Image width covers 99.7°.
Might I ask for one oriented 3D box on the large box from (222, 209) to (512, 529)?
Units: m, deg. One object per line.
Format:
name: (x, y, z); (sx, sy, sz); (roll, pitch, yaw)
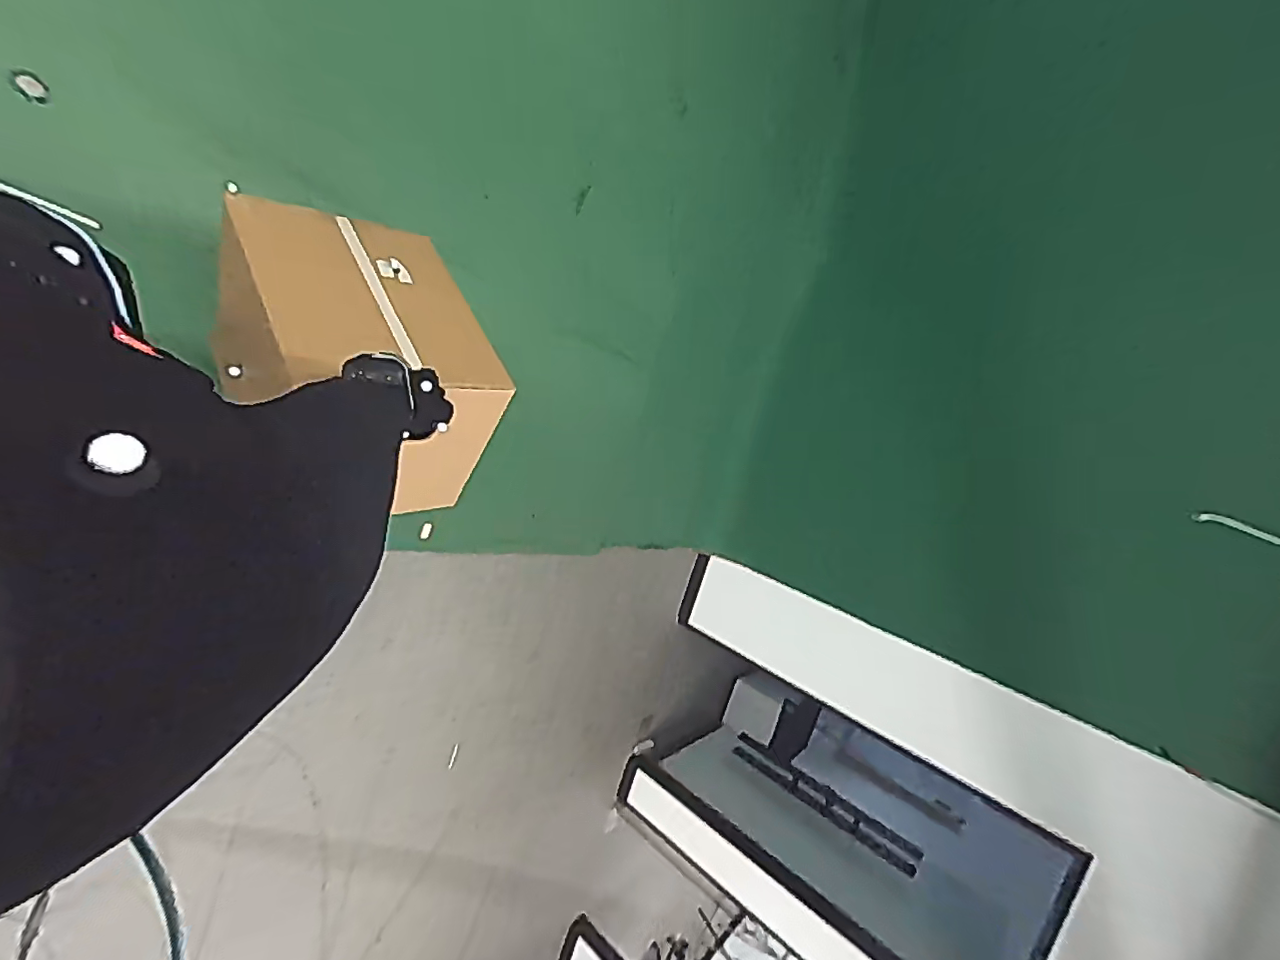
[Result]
large box: (-0.487, -0.182, 0.934); (0.320, 0.408, 0.320); (-8, 146, -46)
